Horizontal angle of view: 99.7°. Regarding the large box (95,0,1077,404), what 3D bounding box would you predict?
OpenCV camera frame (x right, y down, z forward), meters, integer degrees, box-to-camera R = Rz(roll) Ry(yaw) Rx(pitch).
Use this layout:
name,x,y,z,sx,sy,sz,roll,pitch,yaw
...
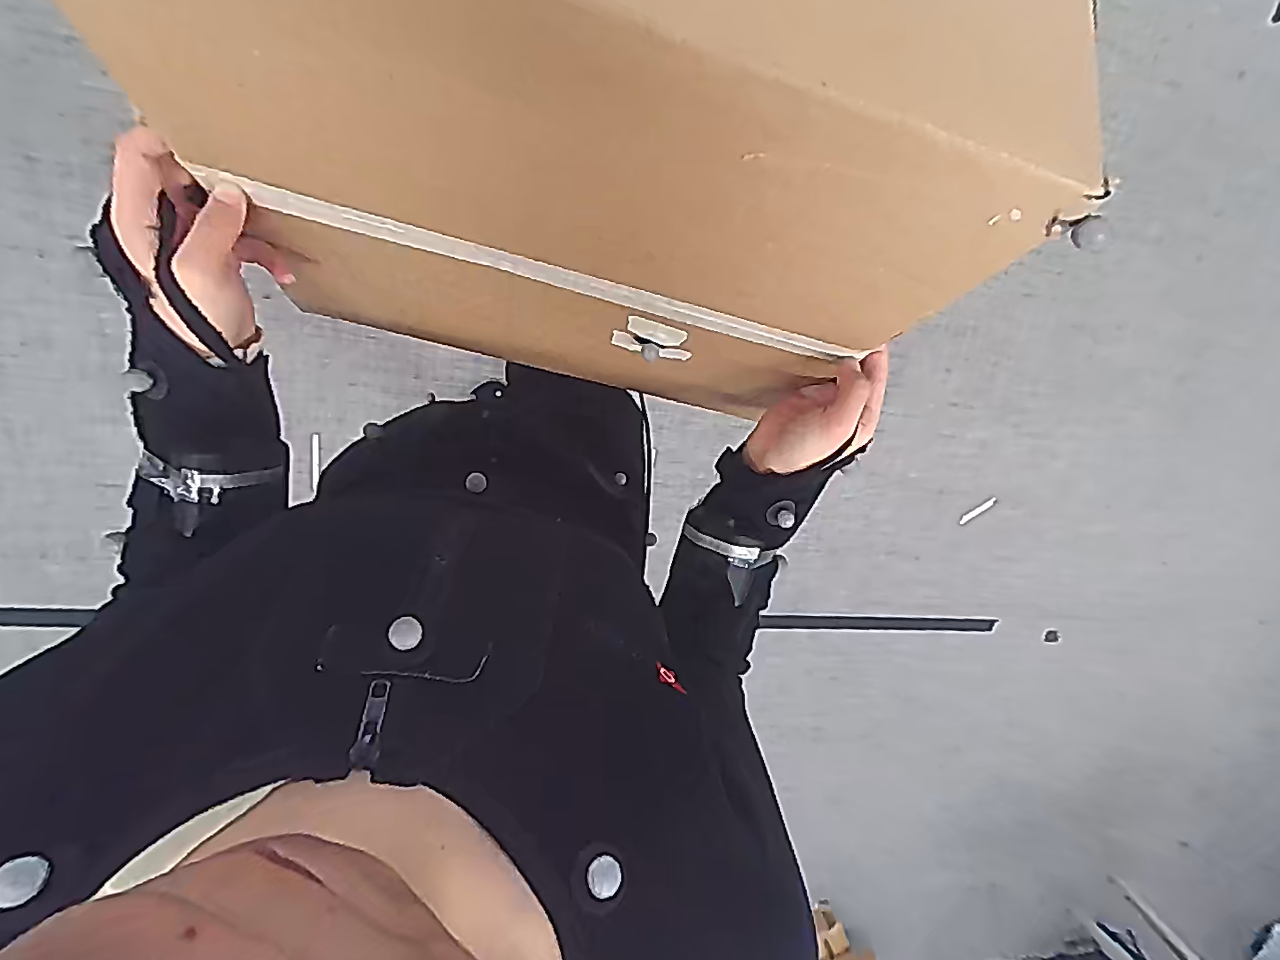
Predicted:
name,x,y,z,sx,sy,sz,roll,pitch,yaw
large box,-0.024,-0.281,0.363,0.408,0.320,0.320,11,78,-11
